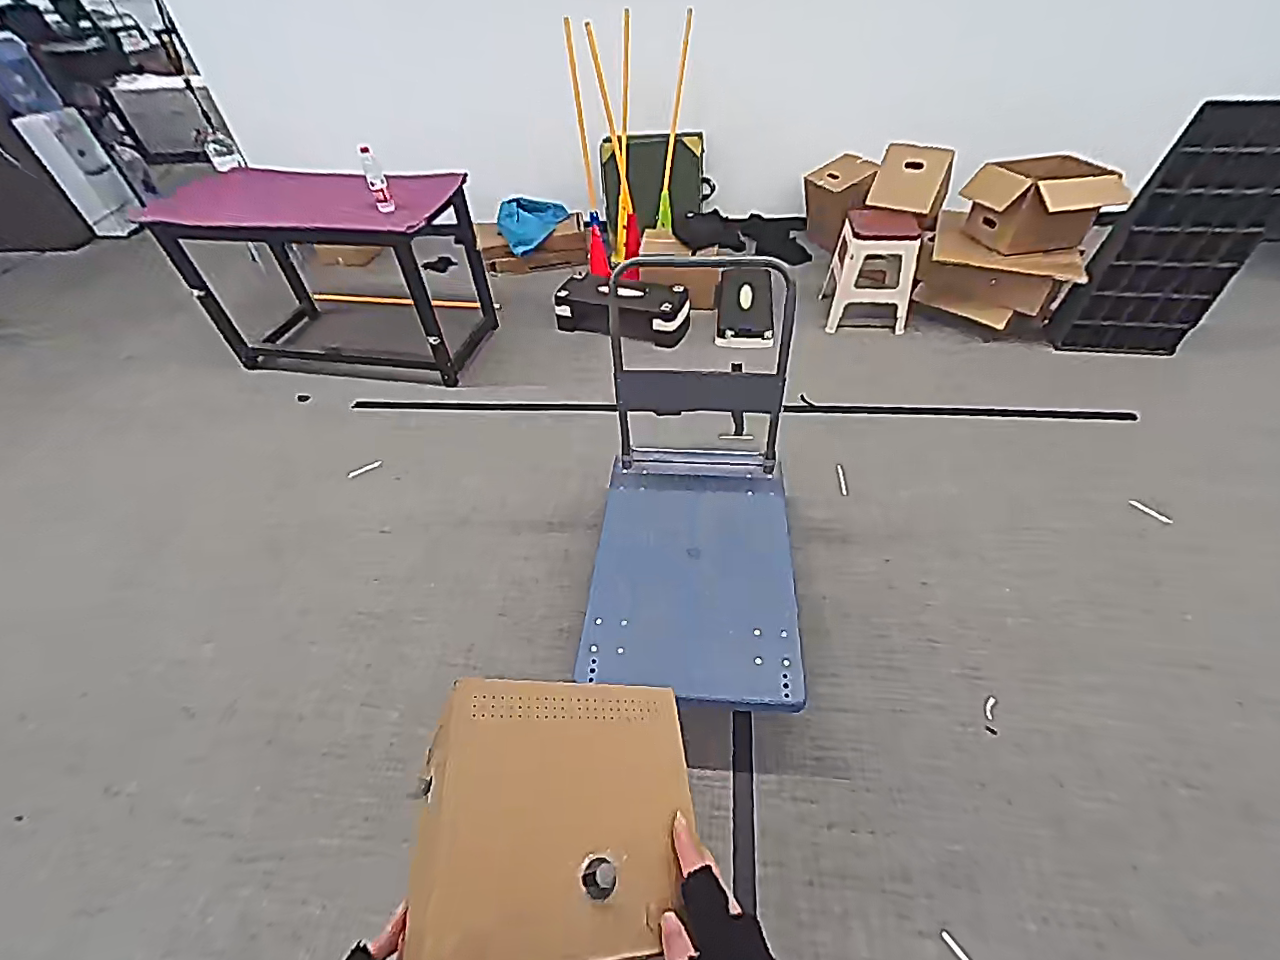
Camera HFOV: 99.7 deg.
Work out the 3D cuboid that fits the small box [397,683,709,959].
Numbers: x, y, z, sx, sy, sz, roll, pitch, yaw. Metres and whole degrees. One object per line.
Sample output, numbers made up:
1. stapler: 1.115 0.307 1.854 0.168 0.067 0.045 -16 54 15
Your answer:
1. small box: -0.074 0.270 0.415 0.179 0.168 0.176 12 44 -21
